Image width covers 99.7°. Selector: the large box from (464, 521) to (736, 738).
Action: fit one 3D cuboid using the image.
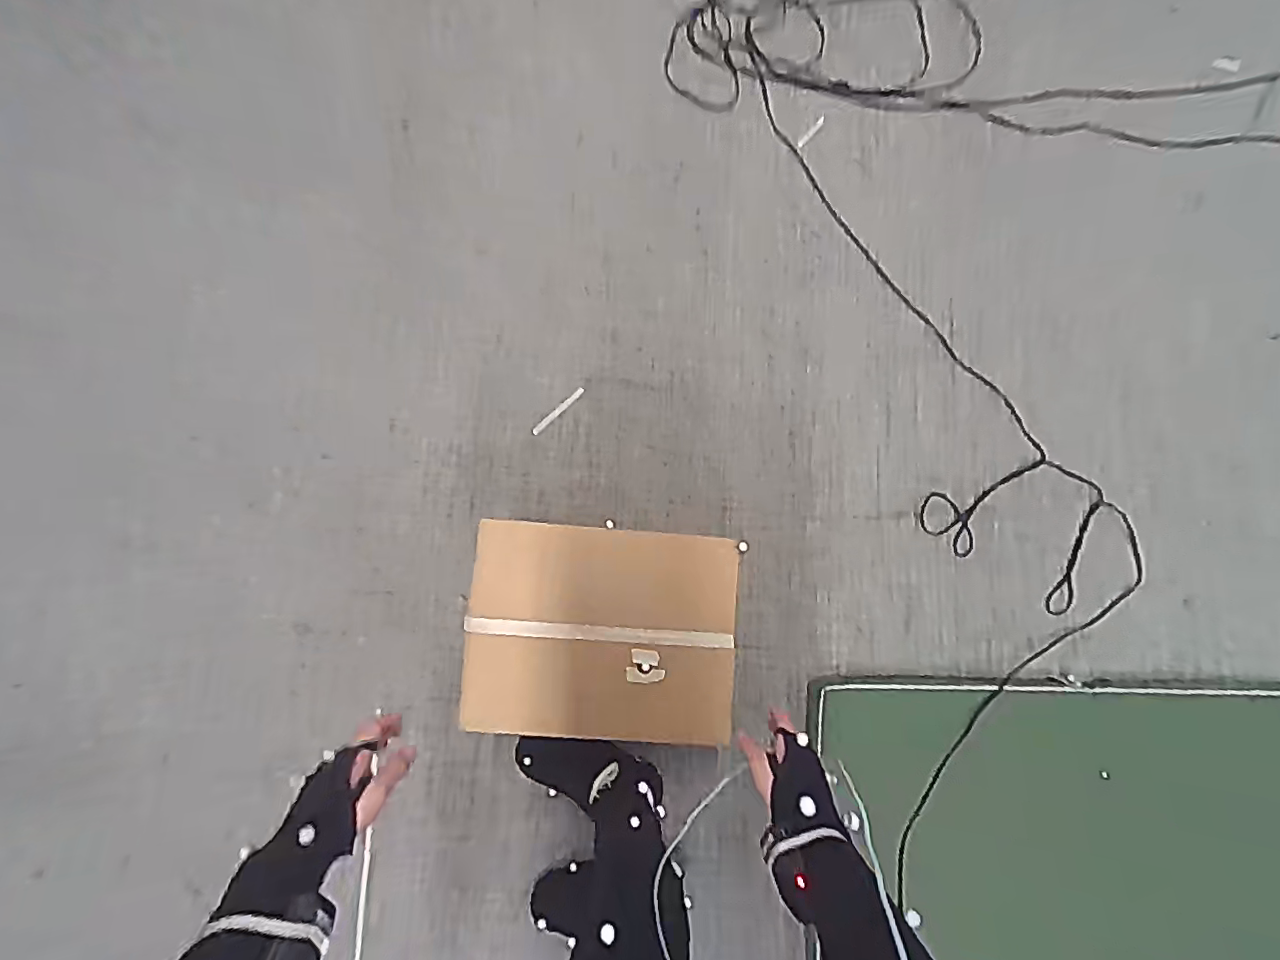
[{"bbox_3d":[-0.069,0.248,0.973,0.408,0.320,0.320,5,83,-5],"label":"large box"}]
